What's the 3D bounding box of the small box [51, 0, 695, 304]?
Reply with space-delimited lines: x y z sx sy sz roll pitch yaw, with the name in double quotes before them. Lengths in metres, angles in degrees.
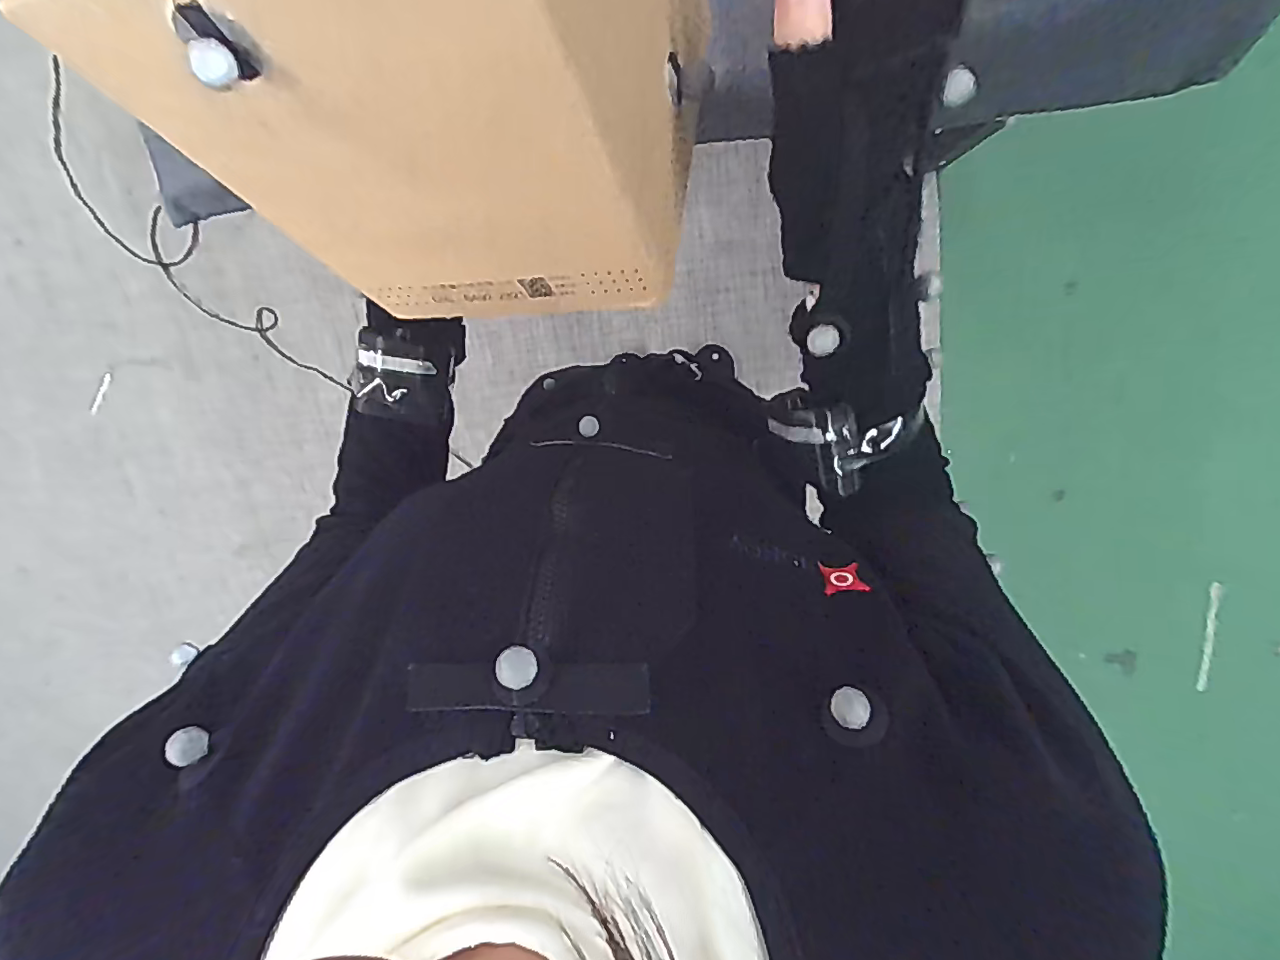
"small box" -0.077 -0.200 0.231 0.168 0.176 0.179 3 74 19
